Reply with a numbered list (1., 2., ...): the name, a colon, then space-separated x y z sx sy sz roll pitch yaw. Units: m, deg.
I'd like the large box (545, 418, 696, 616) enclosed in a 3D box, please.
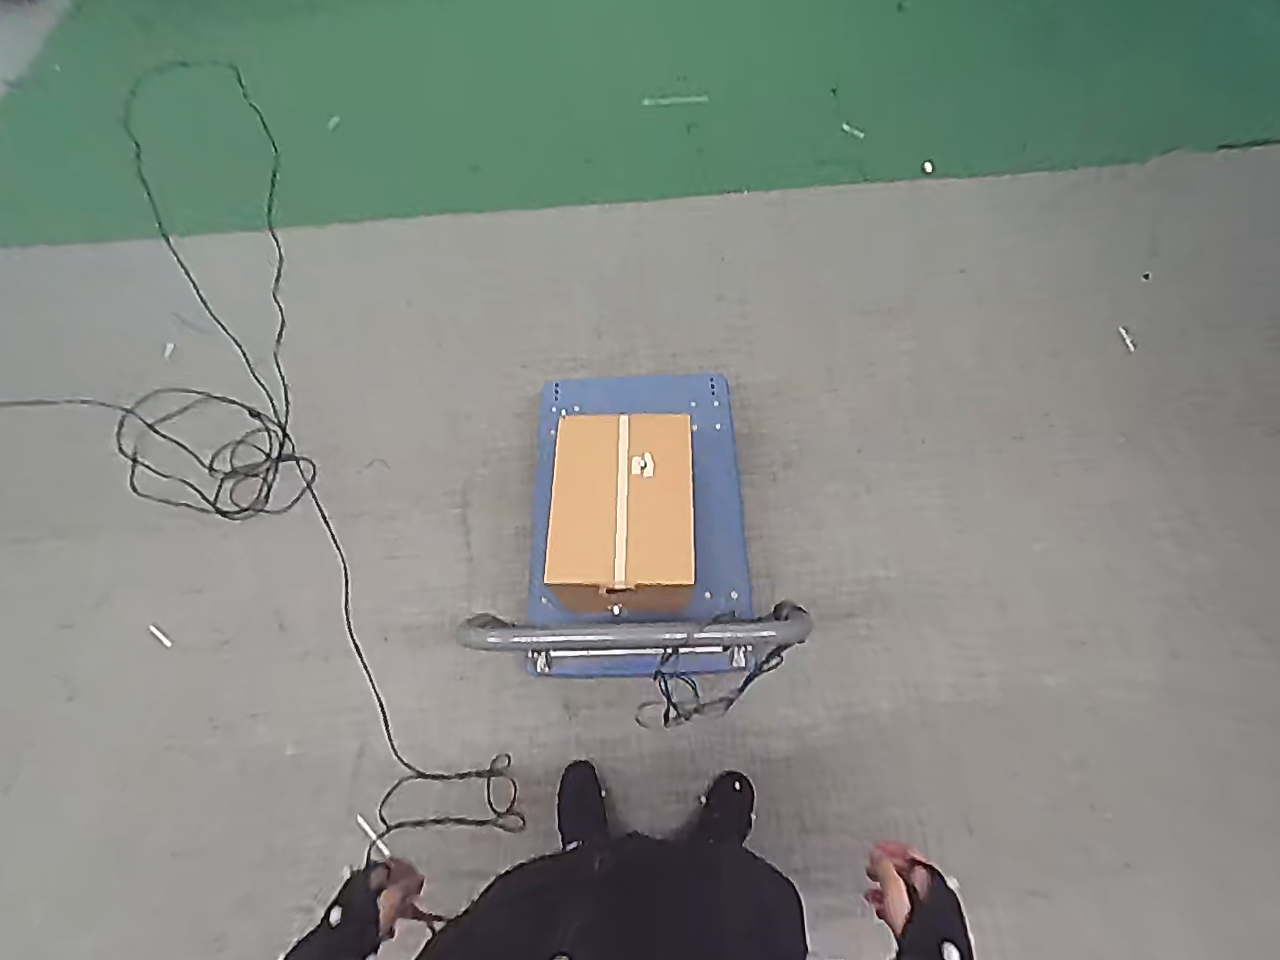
1. large box: -0.034 0.100 1.313 0.320 0.320 0.408 0 65 2
